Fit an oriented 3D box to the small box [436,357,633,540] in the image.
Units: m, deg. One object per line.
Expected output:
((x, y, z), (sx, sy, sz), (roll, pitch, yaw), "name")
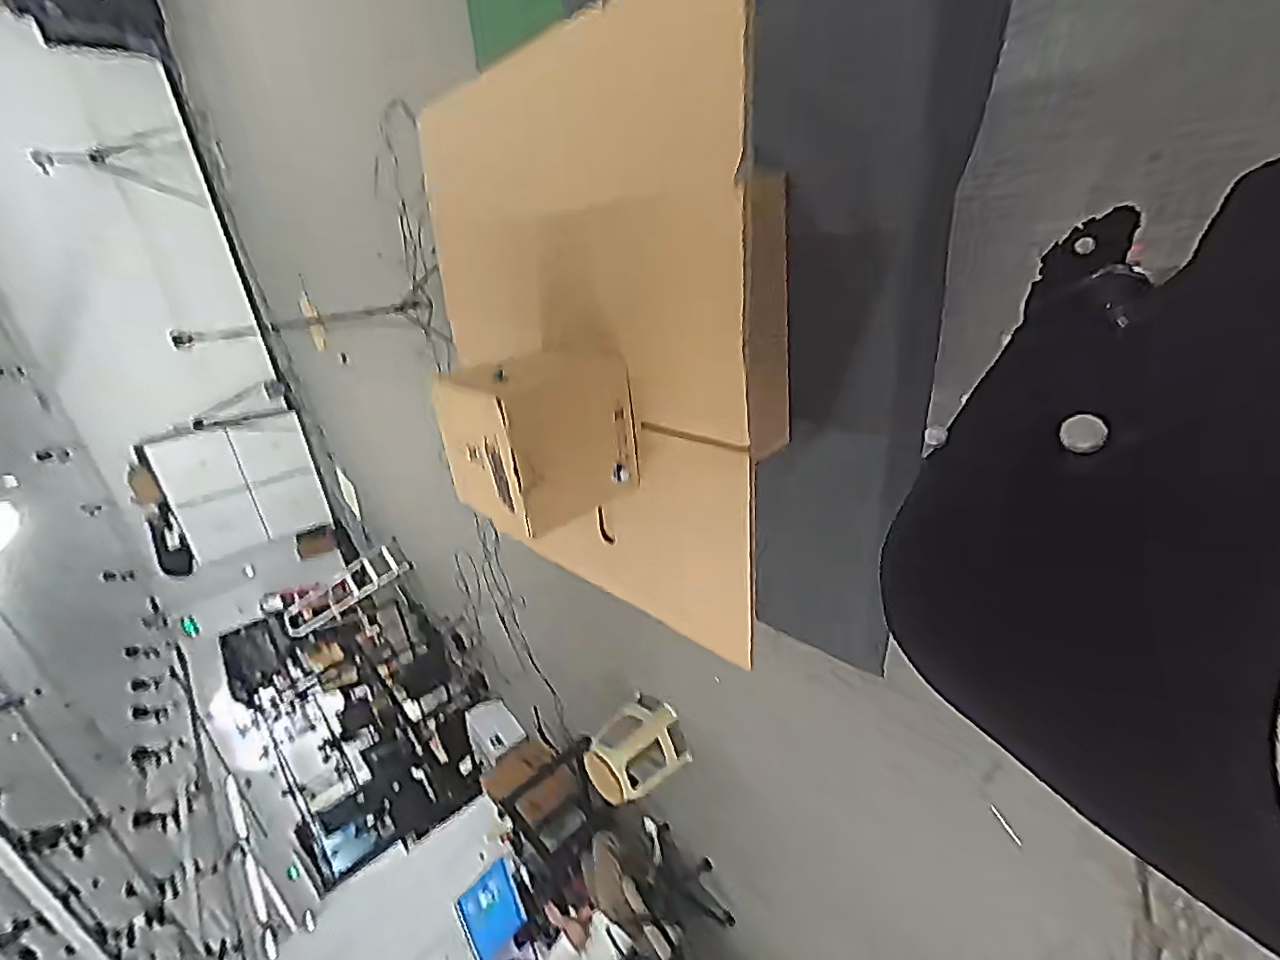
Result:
((-0.121, -0.053, 0.675), (0.179, 0.176, 0.168), (19, 124, 45), "small box")
